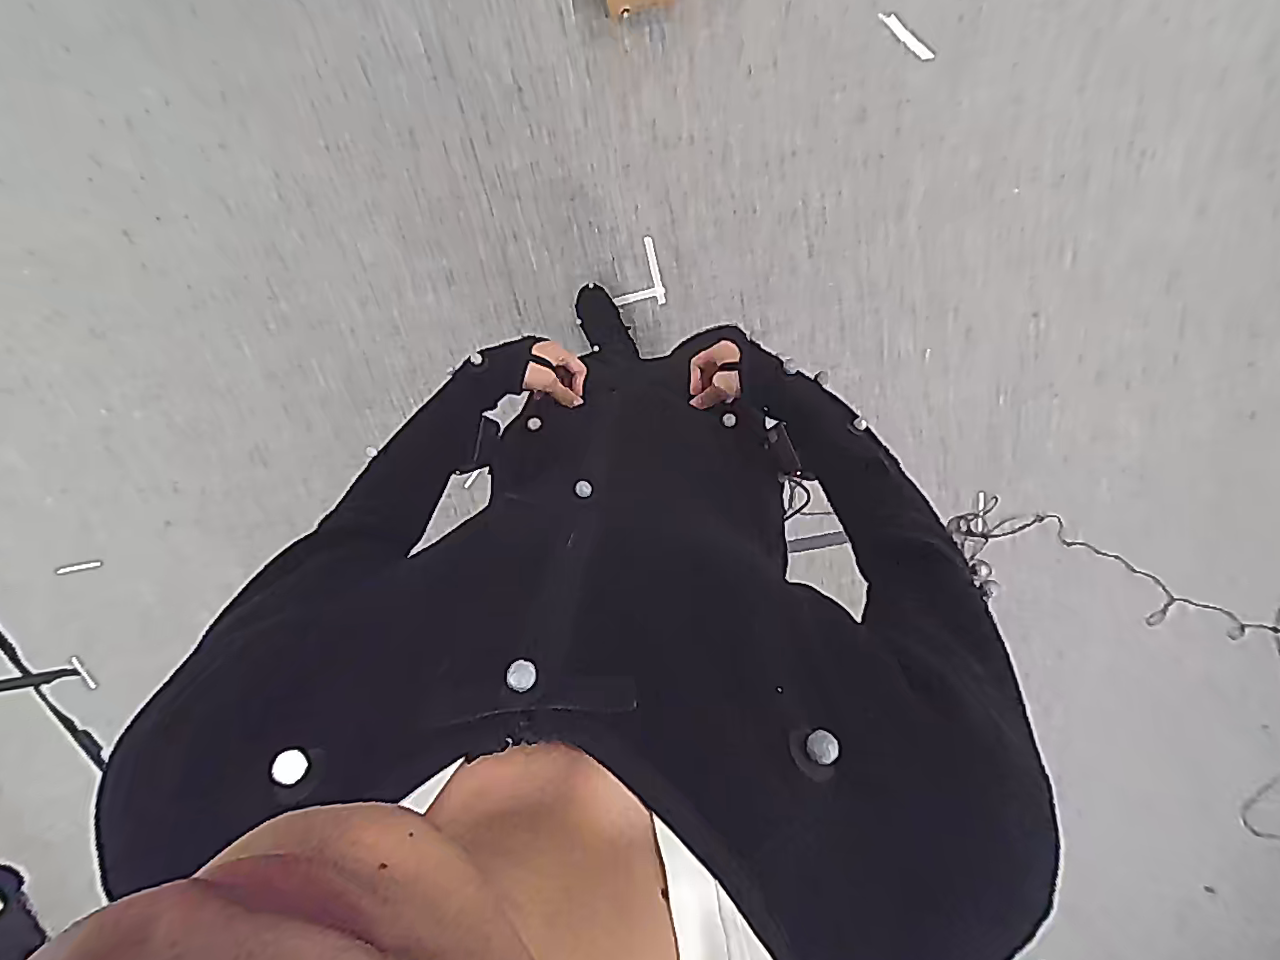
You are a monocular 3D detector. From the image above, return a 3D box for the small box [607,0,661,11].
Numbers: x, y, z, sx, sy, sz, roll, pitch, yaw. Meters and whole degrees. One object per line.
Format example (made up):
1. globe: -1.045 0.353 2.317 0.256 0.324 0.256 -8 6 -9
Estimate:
1. small box: -0.008 -1.135 1.138 0.168 0.176 0.179 -14 110 4
